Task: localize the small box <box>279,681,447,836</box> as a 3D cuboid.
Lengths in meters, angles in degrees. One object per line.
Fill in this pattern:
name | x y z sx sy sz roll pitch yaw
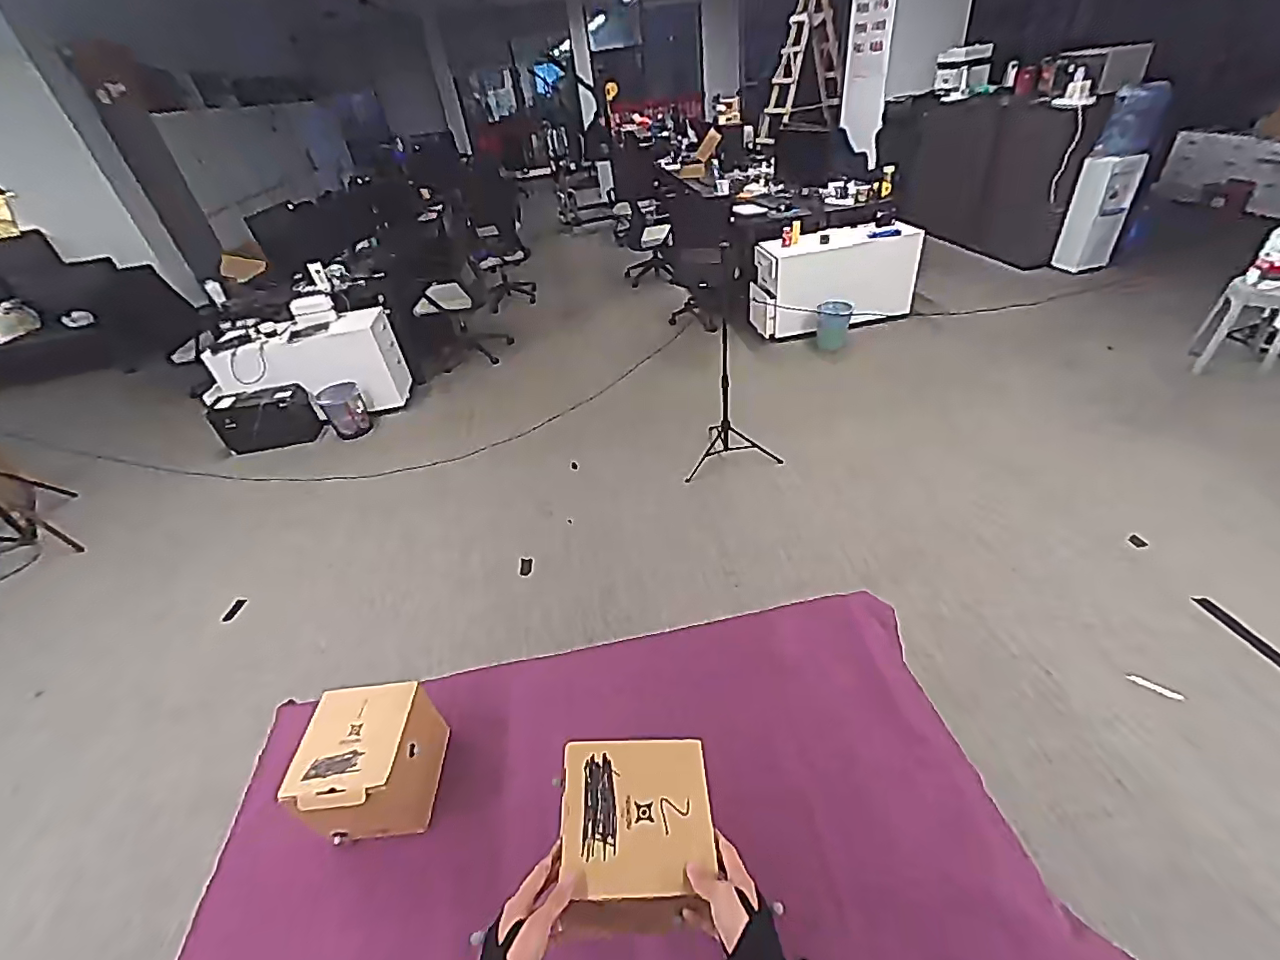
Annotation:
small box | -0.439 0.464 0.895 0.168 0.176 0.179 -7 37 1
